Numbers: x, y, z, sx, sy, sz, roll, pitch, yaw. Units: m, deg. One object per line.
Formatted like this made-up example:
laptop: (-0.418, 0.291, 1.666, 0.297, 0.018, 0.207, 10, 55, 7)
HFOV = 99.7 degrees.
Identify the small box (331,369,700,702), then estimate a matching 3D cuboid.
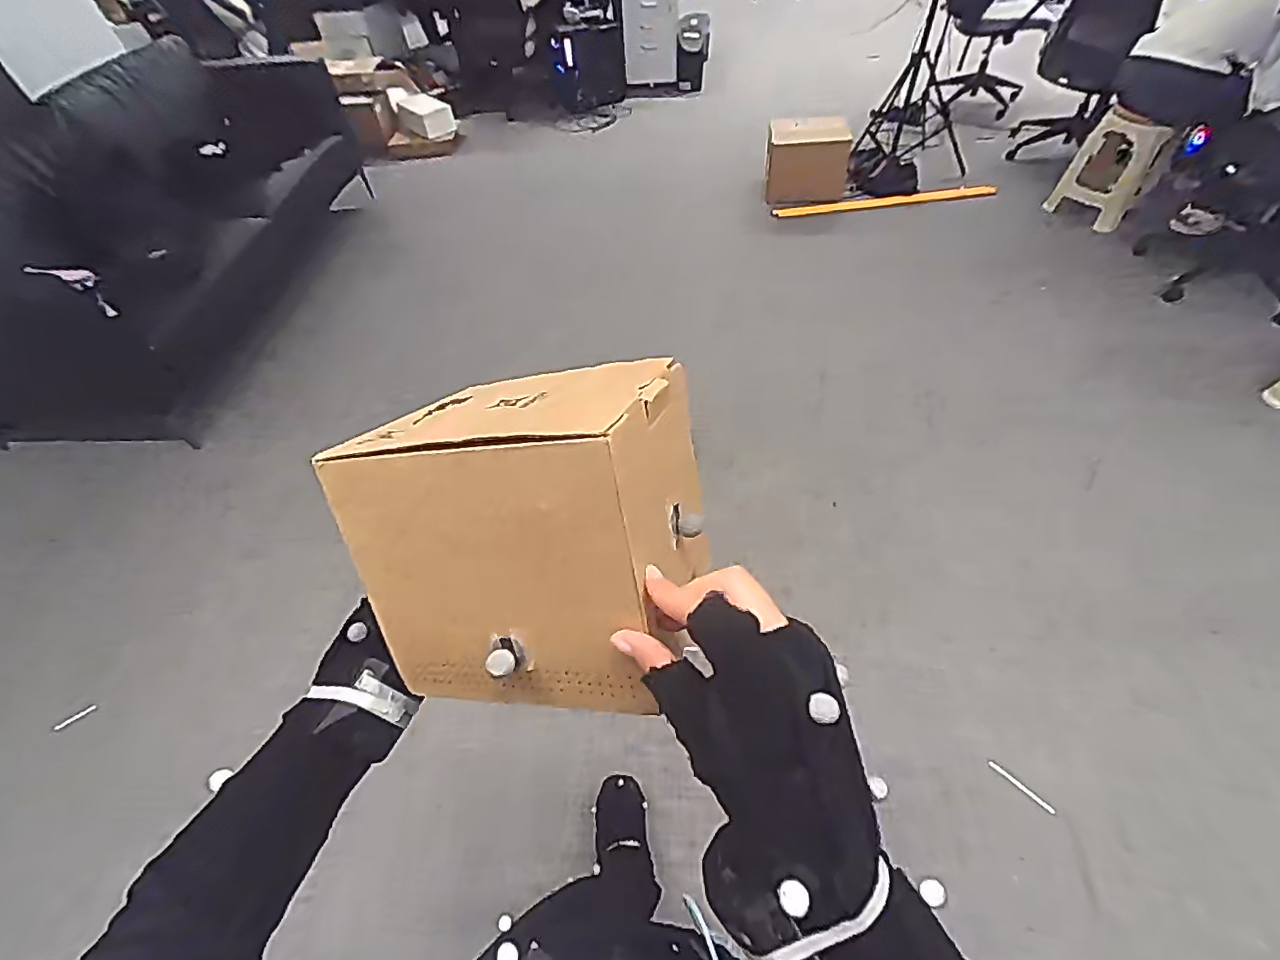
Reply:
small box: (-0.060, 0.031, 0.379, 0.179, 0.176, 0.168, -3, 22, 18)
